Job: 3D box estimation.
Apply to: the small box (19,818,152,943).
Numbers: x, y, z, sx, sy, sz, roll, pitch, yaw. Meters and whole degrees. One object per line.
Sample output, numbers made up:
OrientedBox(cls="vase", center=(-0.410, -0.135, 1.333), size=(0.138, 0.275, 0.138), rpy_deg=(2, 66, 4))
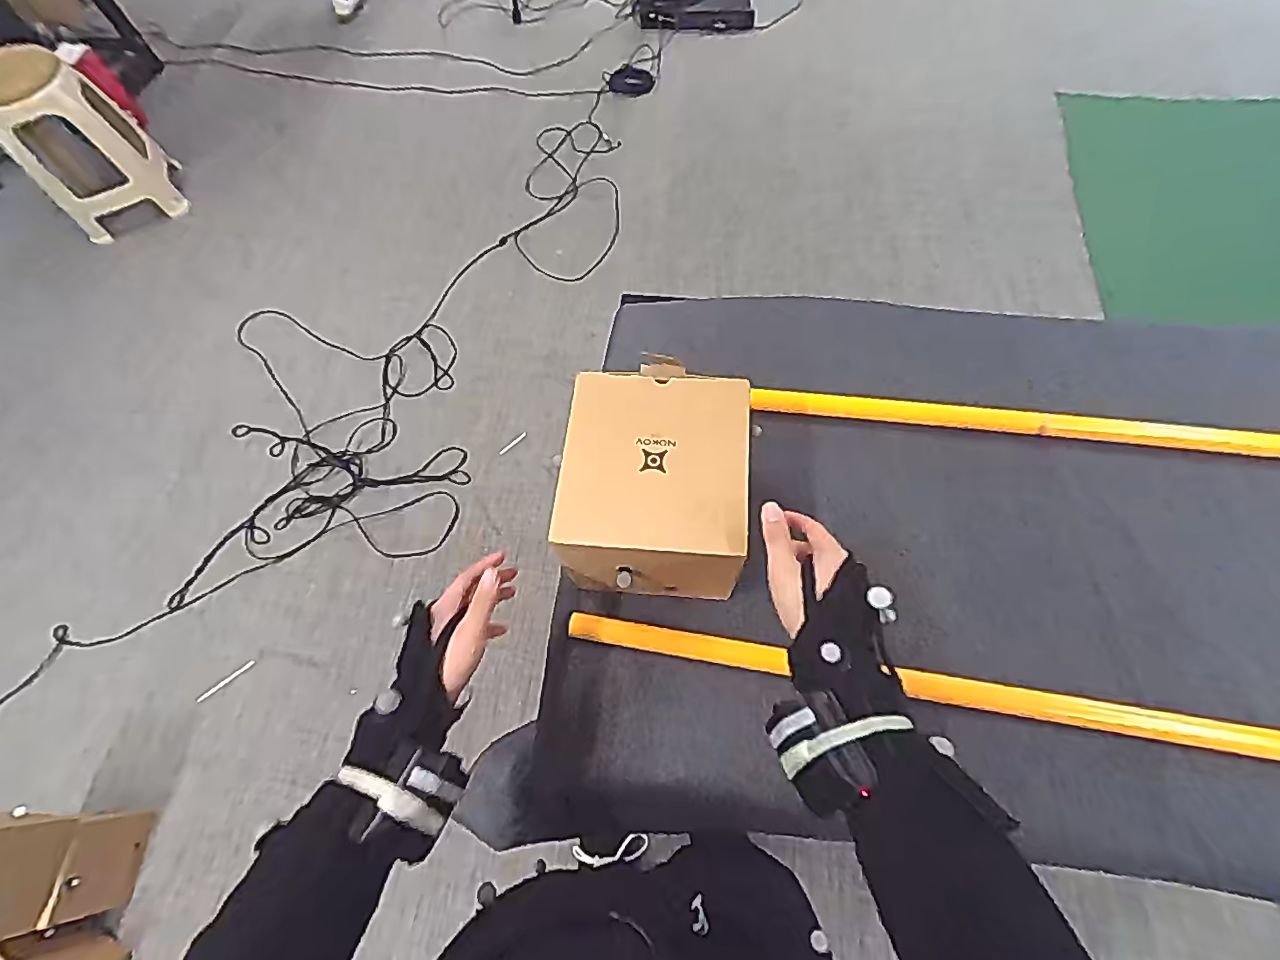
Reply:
OrientedBox(cls="small box", center=(-1.133, 0.778, 1.061), size=(0.179, 0.176, 0.168), rpy_deg=(-6, 67, 2))

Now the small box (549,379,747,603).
OrientedBox(cls="small box", center=(0.017, 0.019, 0.548), size=(0.168, 0.176, 0.179), rpy_deg=(3, 64, 5))

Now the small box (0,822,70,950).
OrientedBox(cls="small box", center=(-1.150, 0.696, 0.914), size=(0.168, 0.176, 0.179), rpy_deg=(2, 63, 4))
